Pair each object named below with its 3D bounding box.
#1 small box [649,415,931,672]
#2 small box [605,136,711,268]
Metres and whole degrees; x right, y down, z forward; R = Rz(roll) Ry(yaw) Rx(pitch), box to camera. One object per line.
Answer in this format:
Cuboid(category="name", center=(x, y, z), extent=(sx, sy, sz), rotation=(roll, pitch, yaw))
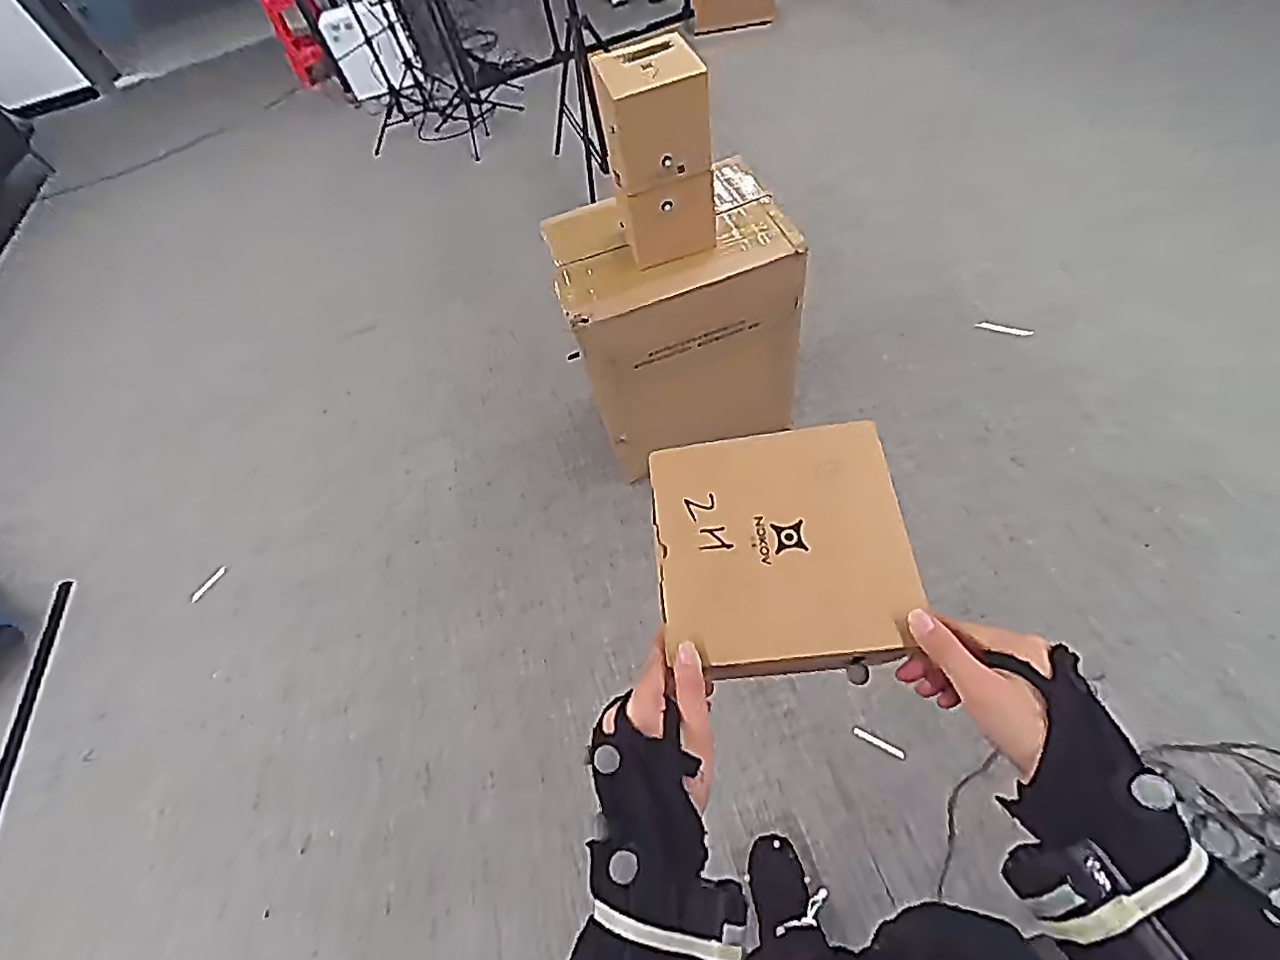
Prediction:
Cuboid(category="small box", center=(0.110, 0.066, 0.459), extent=(0.179, 0.176, 0.168), rotation=(-8, 65, 8))
Cuboid(category="small box", center=(0.042, -0.579, 1.139), extent=(0.179, 0.176, 0.168), rotation=(-18, 57, -1))
